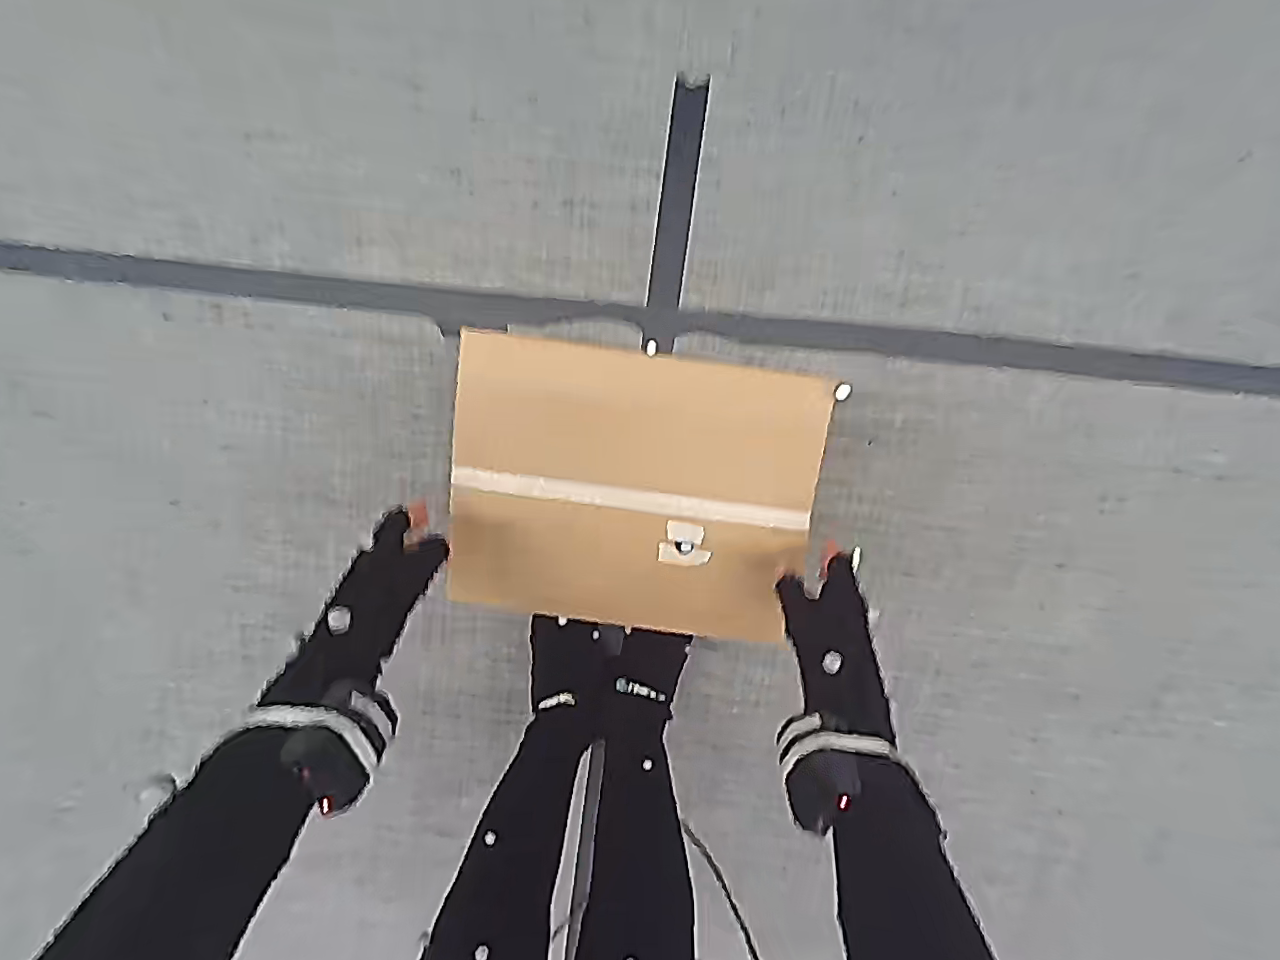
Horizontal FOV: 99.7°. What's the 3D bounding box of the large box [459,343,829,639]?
[{"bbox_3d":[-0.004,-0.005,0.766,0.408,0.320,0.320,7,101,-1],"label":"large box"}]
